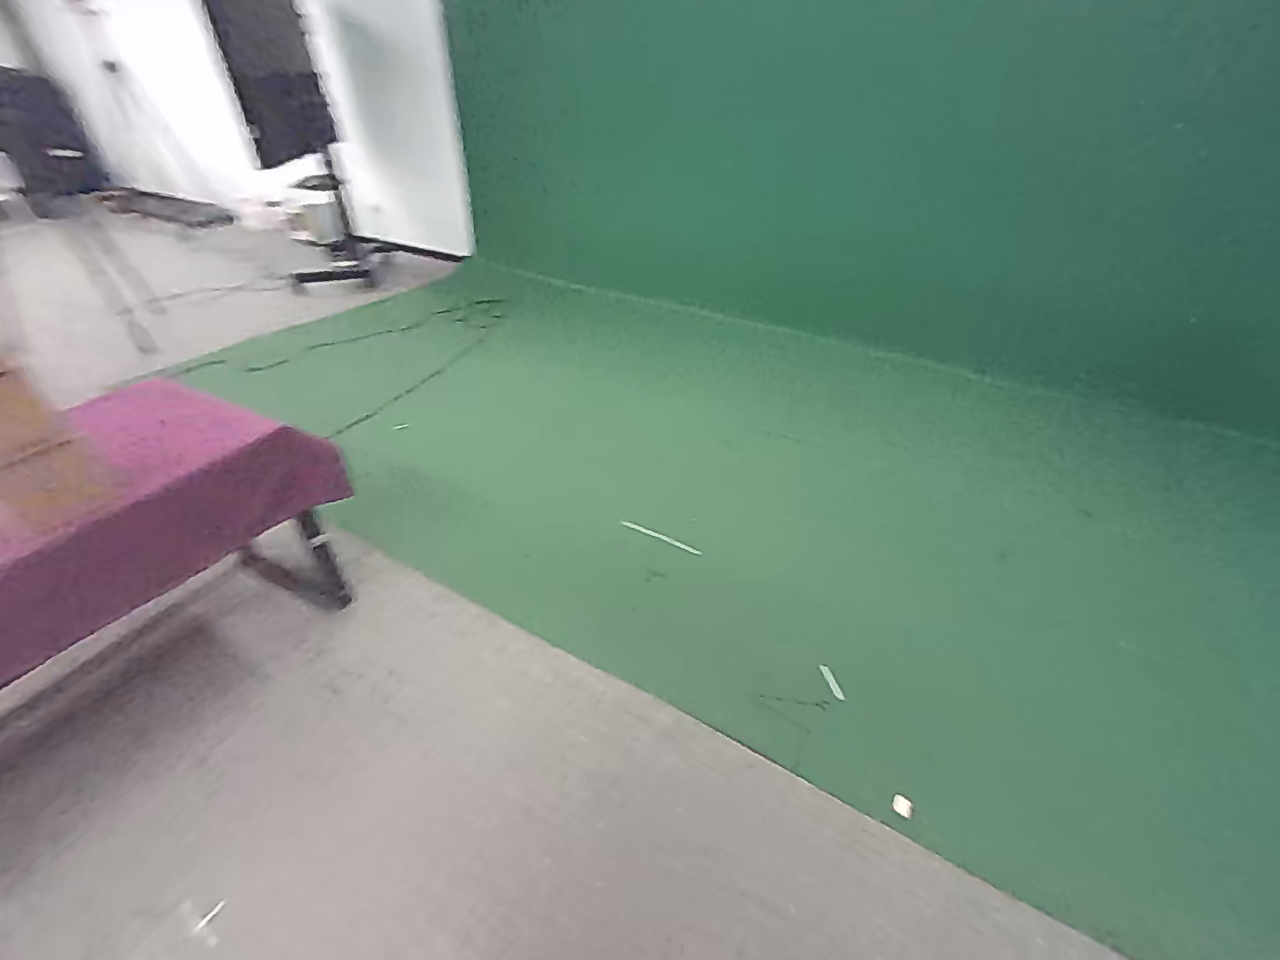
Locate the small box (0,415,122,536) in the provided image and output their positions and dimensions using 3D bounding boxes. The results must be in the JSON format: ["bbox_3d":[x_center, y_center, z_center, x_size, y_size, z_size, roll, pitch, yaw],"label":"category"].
[{"bbox_3d":[-1.287,-0.011,1.173,0.168,0.176,0.179,20,42,23],"label":"small box"}]
